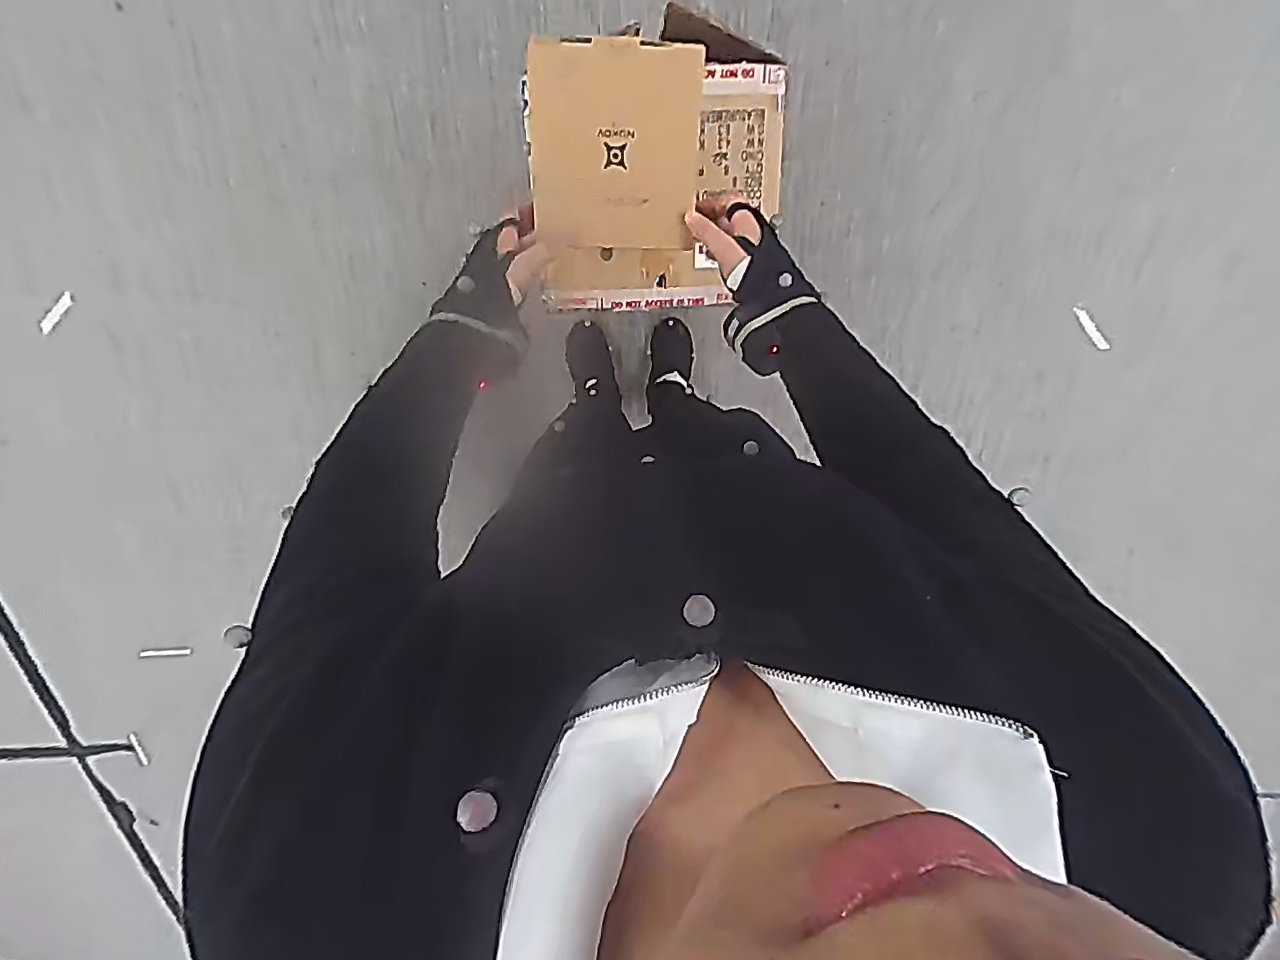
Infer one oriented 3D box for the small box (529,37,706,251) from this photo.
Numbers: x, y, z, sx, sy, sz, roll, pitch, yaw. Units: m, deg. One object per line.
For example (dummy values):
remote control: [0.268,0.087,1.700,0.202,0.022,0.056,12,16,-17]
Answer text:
small box: [-0.025,-0.352,0.596,0.168,0.176,0.179,1,115,-1]
